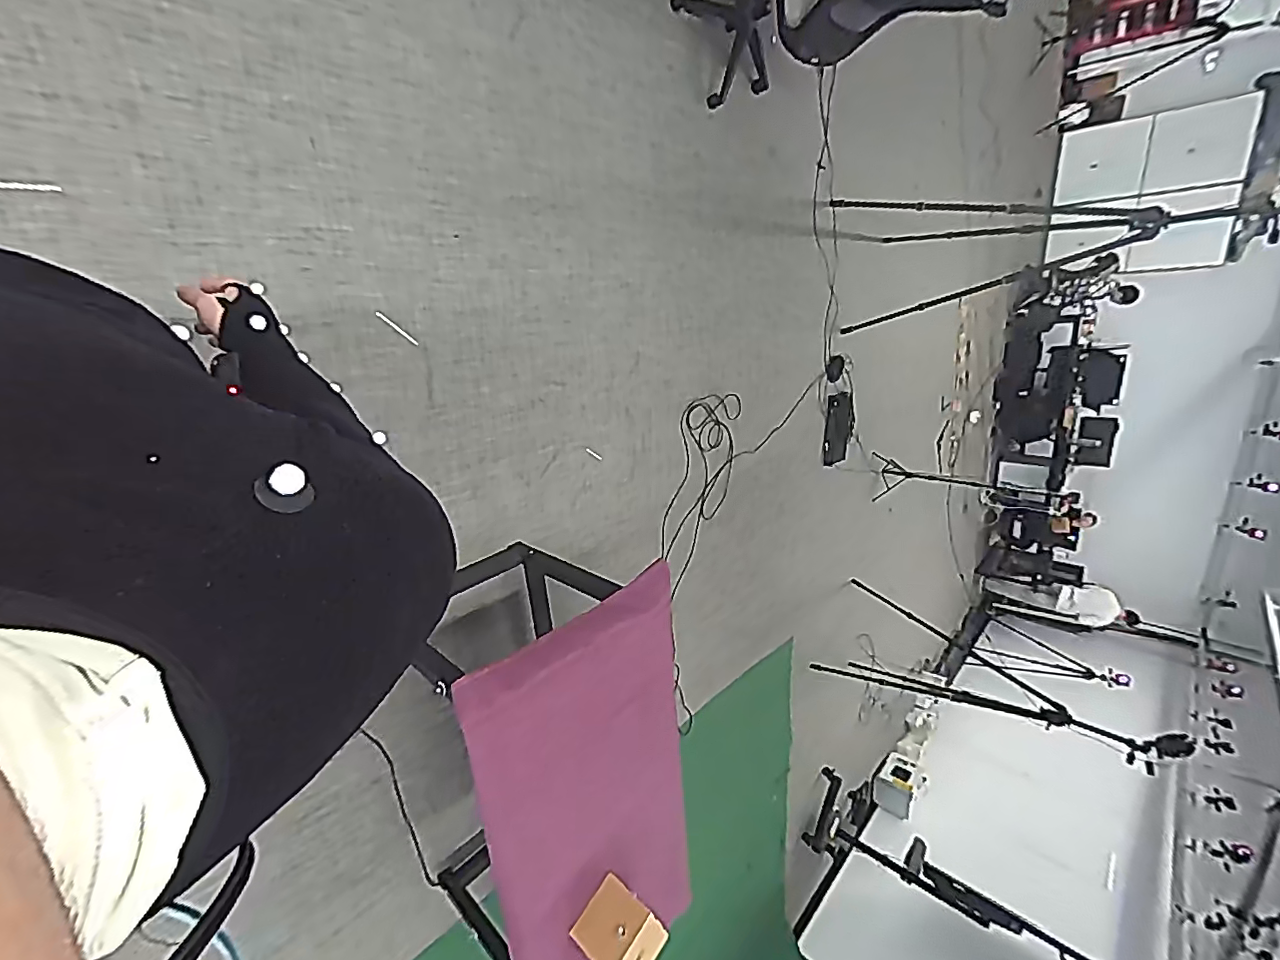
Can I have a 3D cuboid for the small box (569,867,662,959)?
[{"bbox_3d":[-0.074,1.239,1.501,0.179,0.176,0.168,-43,127,-31],"label":"small box"}]
